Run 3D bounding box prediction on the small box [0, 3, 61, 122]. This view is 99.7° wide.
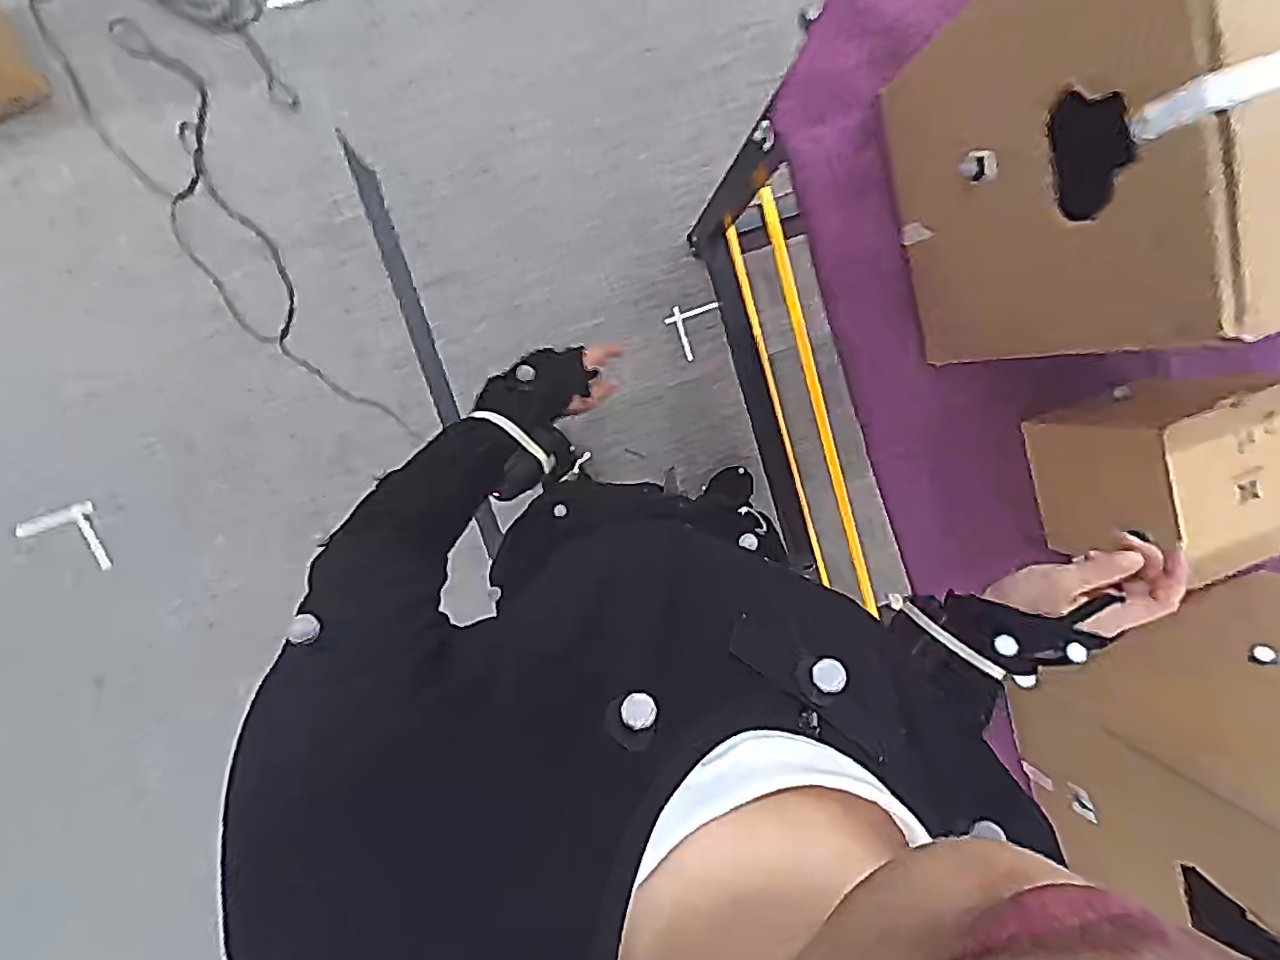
[{"bbox_3d":[-1.309,-0.841,1.040,0.168,0.176,0.179,-24,100,-1],"label":"small box"}]

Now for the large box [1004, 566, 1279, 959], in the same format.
[{"bbox_3d":[0.723,0.336,0.602,0.408,0.320,0.320,-19,100,-5],"label":"large box"}]
